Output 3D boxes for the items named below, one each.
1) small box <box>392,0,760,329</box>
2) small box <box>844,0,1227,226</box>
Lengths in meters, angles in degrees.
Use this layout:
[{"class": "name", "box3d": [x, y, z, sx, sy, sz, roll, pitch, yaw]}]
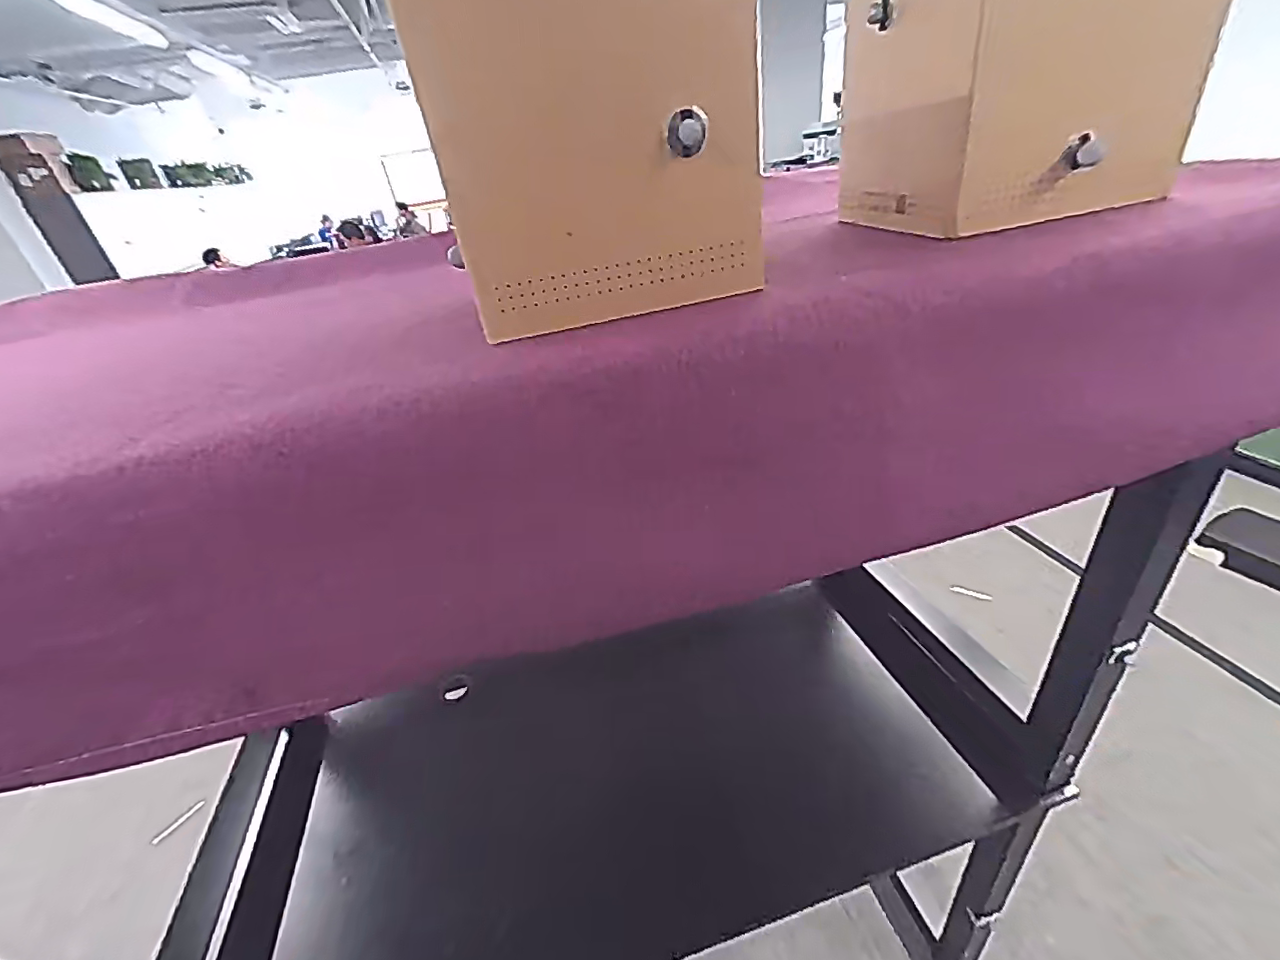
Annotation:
[{"class": "small box", "box3d": [-0.034, -0.212, 0.351, 0.179, 0.176, 0.168, -14, 30, -7]}, {"class": "small box", "box3d": [0.272, -0.301, 0.405, 0.179, 0.176, 0.168, -12, 30, -4]}]
